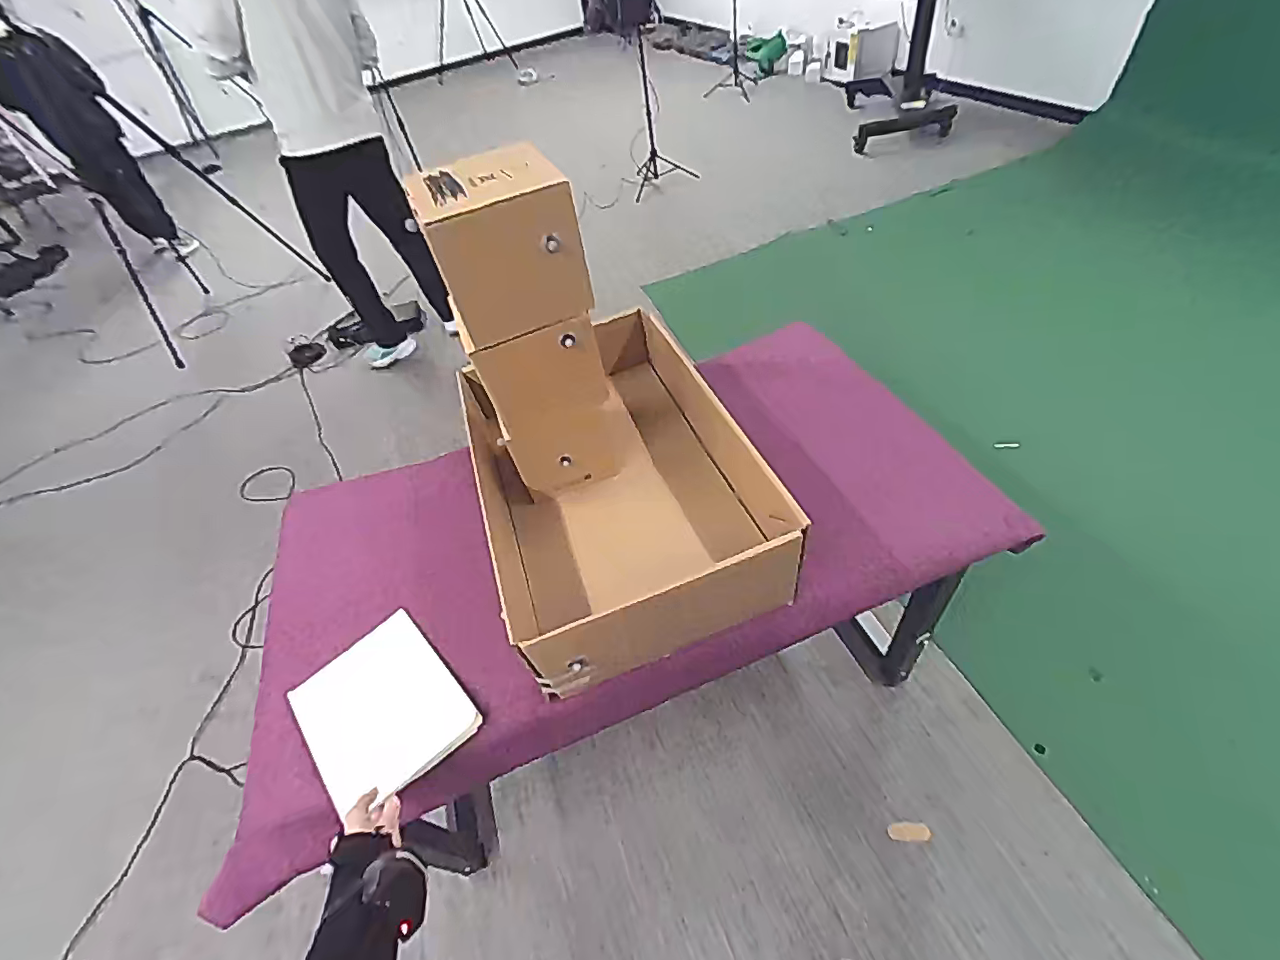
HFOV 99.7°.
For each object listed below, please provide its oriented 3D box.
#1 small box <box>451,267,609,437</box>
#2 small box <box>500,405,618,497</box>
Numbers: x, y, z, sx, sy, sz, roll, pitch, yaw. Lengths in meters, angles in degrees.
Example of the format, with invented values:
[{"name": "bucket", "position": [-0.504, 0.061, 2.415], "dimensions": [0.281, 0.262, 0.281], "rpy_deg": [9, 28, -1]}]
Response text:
[{"name": "small box", "position": [-0.166, -0.194, 0.838], "dimensions": [0.179, 0.176, 0.168], "rpy_deg": [-22, 50, -8]}, {"name": "small box", "position": [-0.148, -0.091, 0.961], "dimensions": [0.168, 0.176, 0.179], "rpy_deg": [-21, 50, -7]}]
